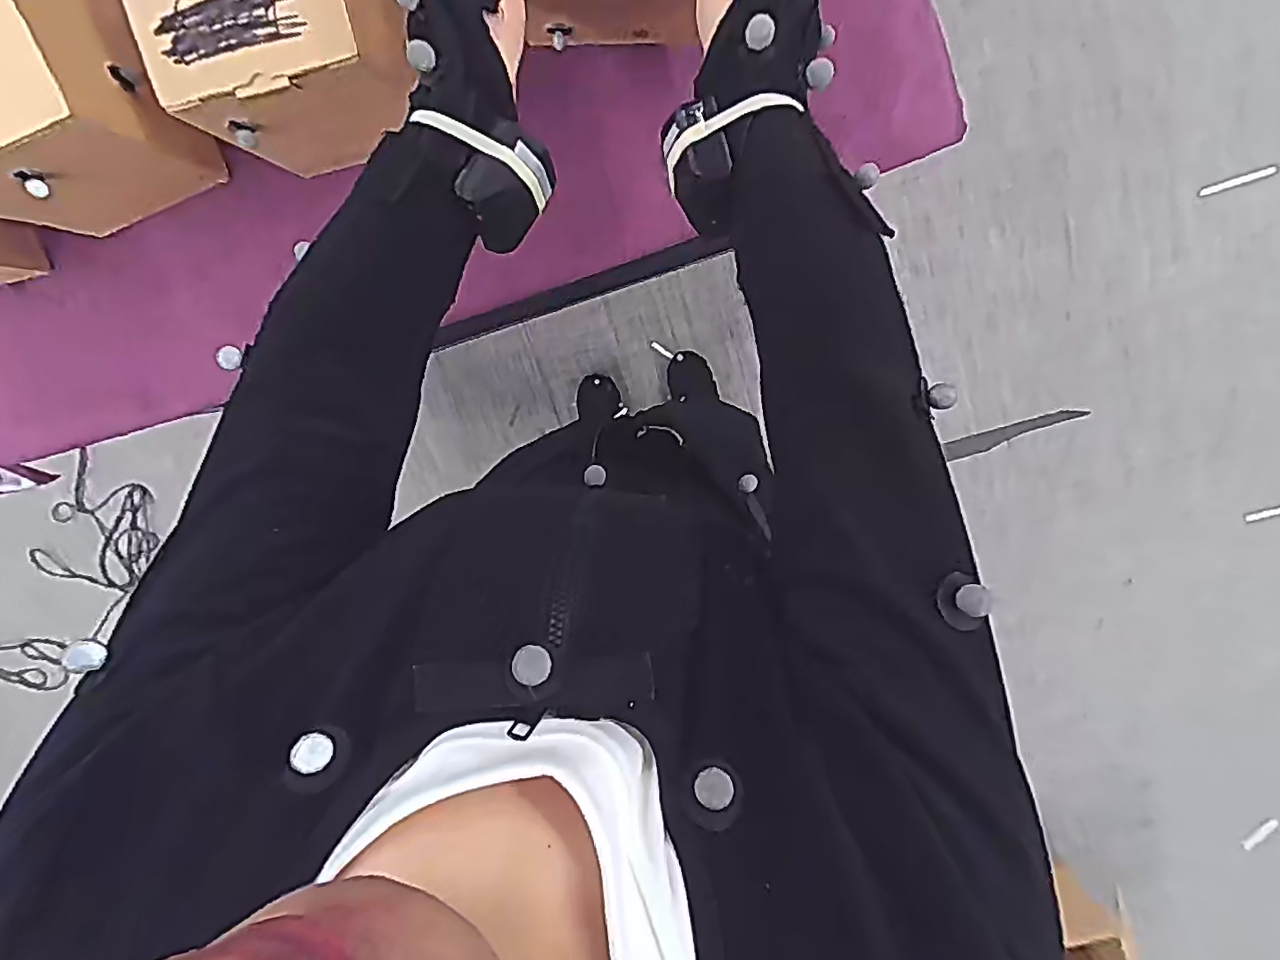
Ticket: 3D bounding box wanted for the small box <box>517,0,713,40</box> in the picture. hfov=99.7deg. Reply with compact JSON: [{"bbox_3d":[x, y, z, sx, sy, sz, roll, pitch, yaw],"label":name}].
[{"bbox_3d":[-0.021,-0.456,0.392,0.168,0.176,0.179,0,107,0],"label":"small box"}]
